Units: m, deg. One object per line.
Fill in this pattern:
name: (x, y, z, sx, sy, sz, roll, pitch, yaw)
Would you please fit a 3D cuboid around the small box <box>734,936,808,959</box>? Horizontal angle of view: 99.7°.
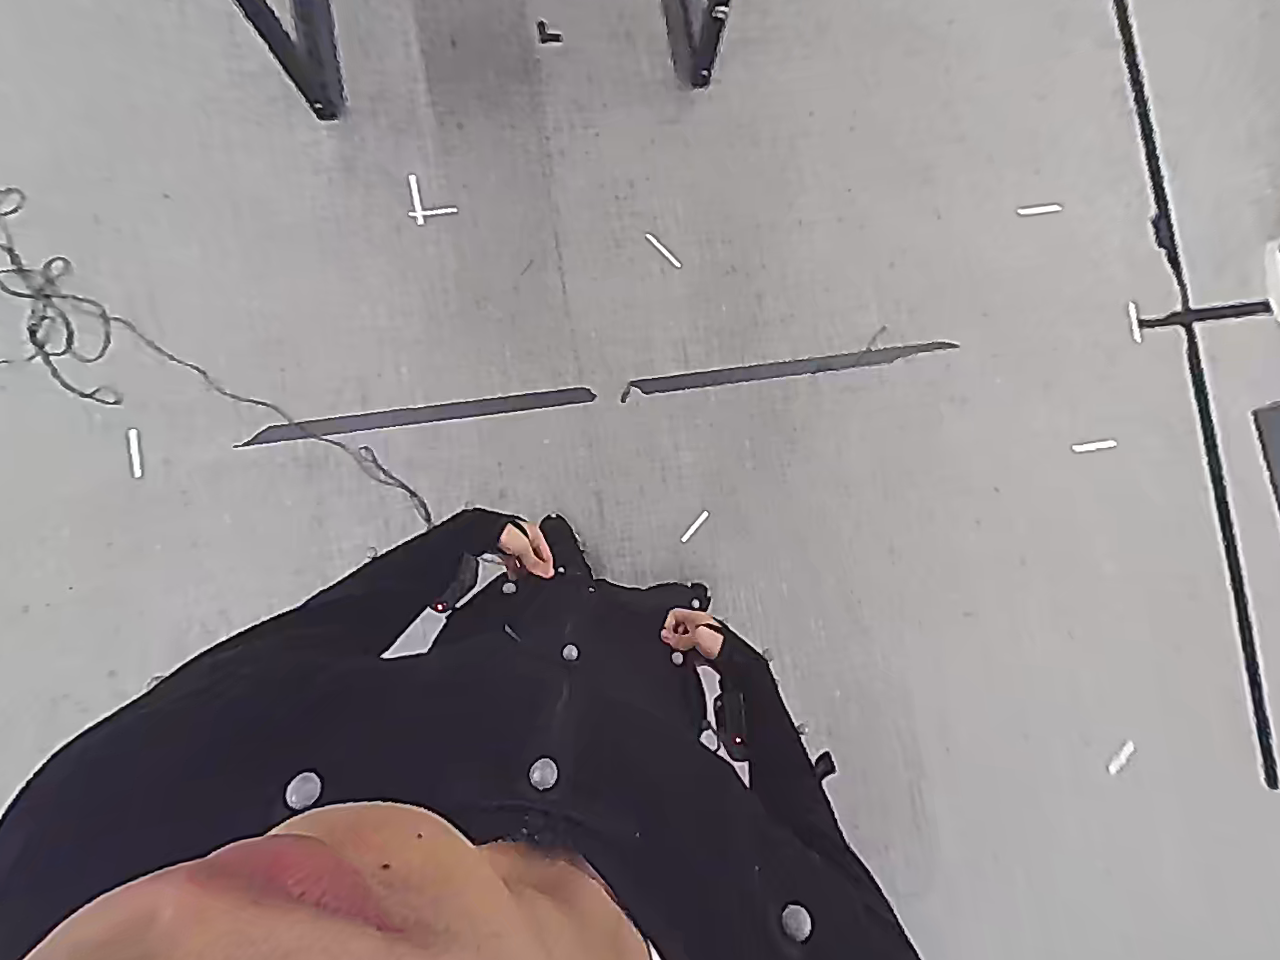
small box: (0.297, 1.128, 1.140, 0.179, 0.176, 0.168, -14, 91, -7)
